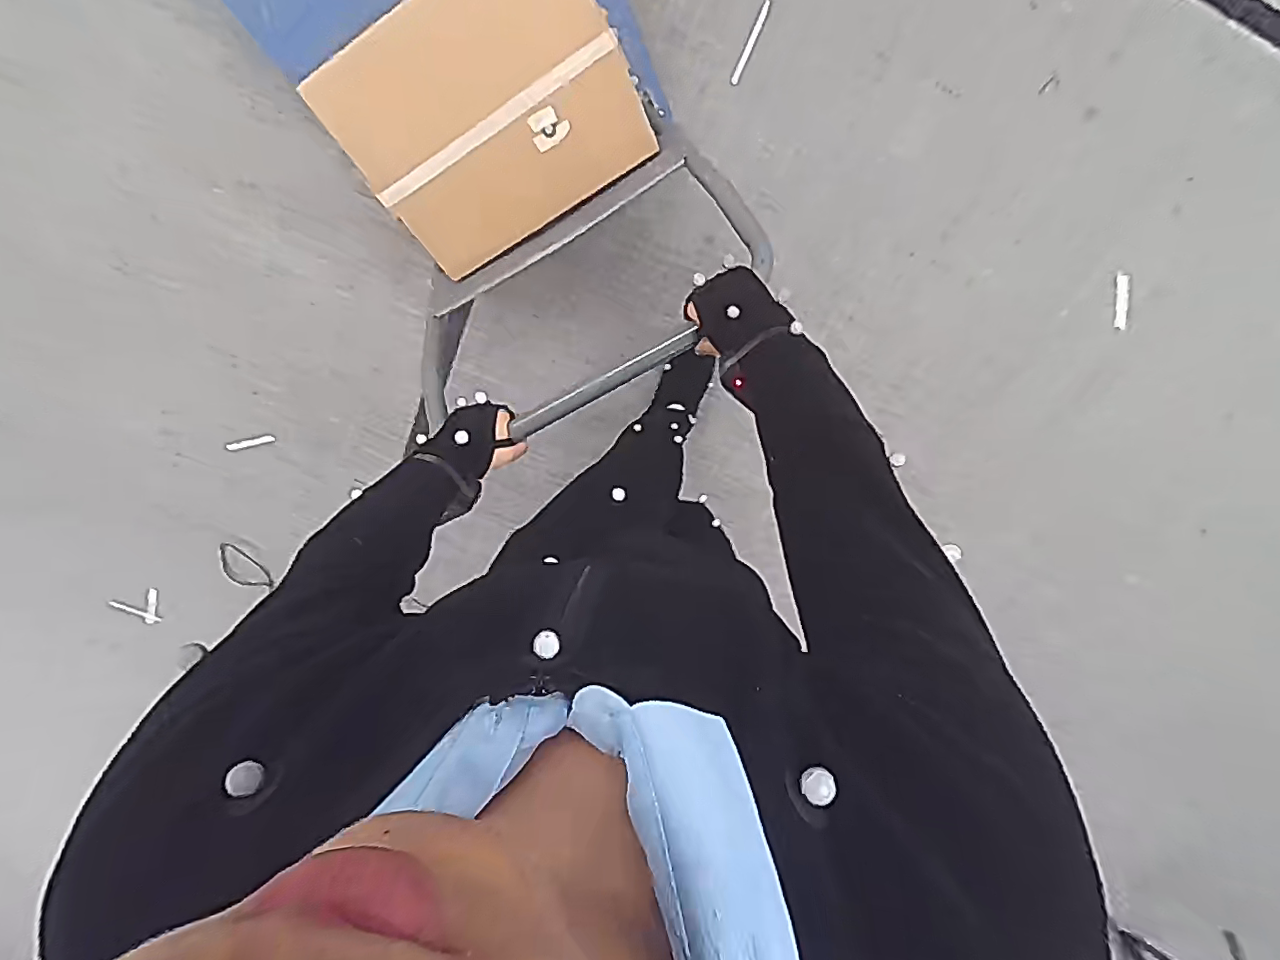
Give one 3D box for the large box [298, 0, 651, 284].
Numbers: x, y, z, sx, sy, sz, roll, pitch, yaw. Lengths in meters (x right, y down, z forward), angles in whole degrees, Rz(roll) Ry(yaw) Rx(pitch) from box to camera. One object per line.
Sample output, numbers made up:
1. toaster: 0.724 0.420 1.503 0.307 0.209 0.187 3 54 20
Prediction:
1. large box: -0.250 -0.607 0.885 0.408 0.320 0.320 -29 133 11
